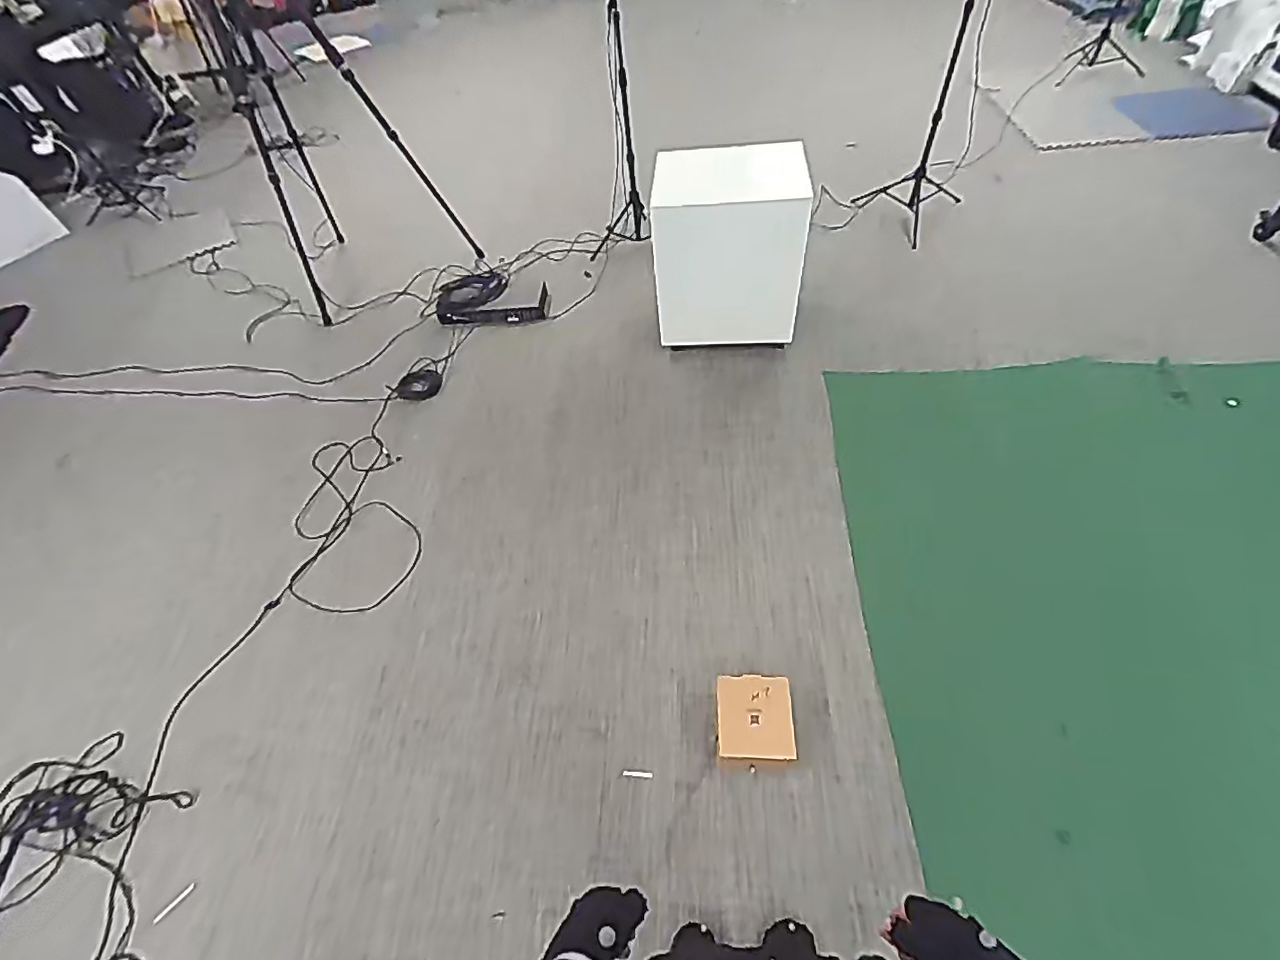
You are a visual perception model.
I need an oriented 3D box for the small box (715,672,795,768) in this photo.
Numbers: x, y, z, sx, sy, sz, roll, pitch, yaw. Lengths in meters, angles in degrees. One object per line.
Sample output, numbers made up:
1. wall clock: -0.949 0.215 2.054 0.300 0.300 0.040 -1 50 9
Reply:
1. small box: 0.263 0.566 1.267 0.168 0.176 0.179 0 54 6
